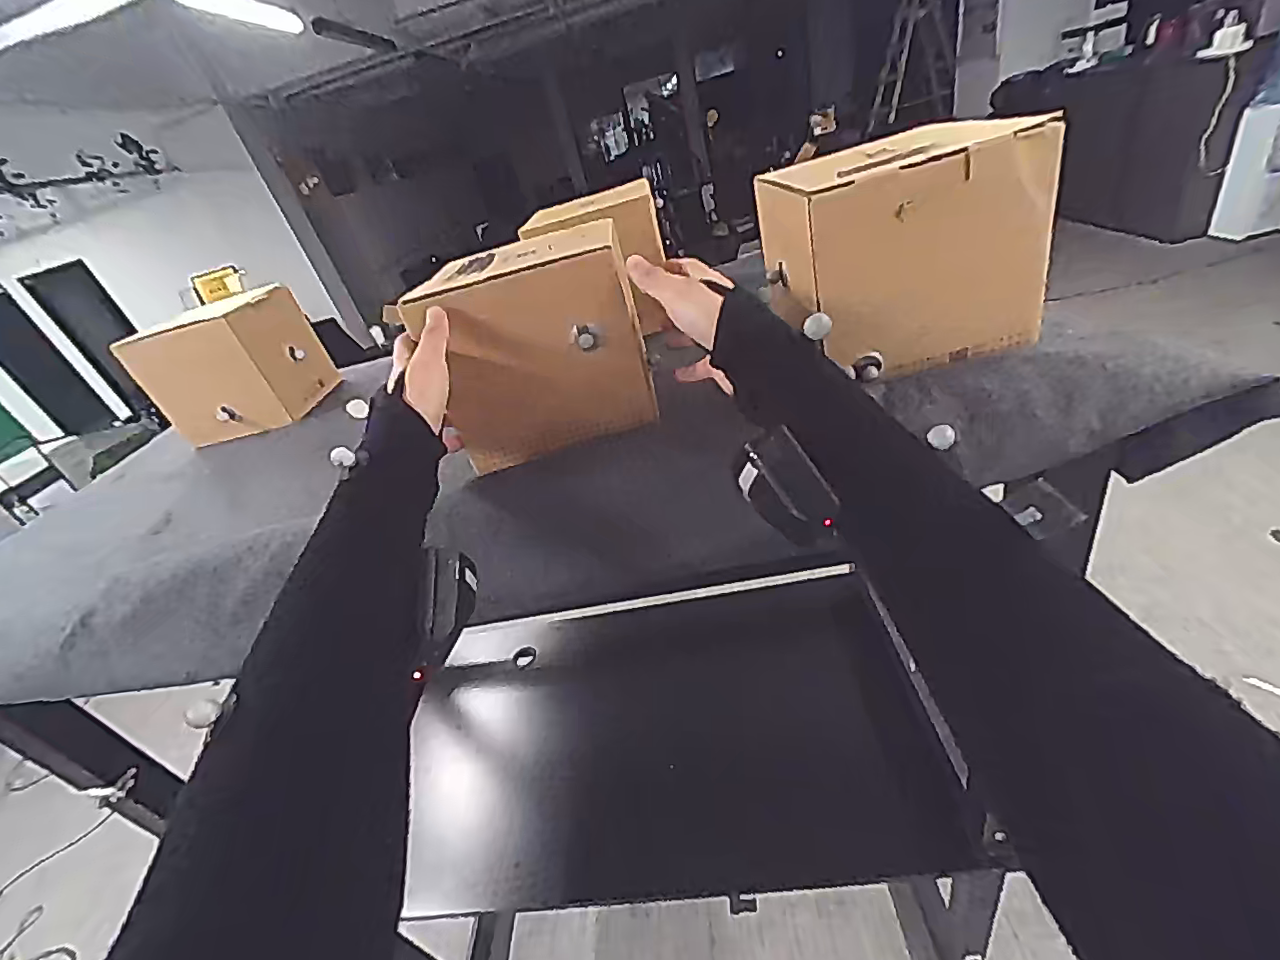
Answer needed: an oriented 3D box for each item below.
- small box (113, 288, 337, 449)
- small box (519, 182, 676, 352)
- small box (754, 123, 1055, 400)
[{"bbox_3d":[-0.608,-0.170,0.825,0.179,0.176,0.168,-12,33,6],"label":"small box"},{"bbox_3d":[-0.049,-0.292,0.754,0.168,0.176,0.179,-13,33,8],"label":"small box"},{"bbox_3d":[0.207,-0.183,0.464,0.168,0.176,0.179,-14,31,6],"label":"small box"}]
